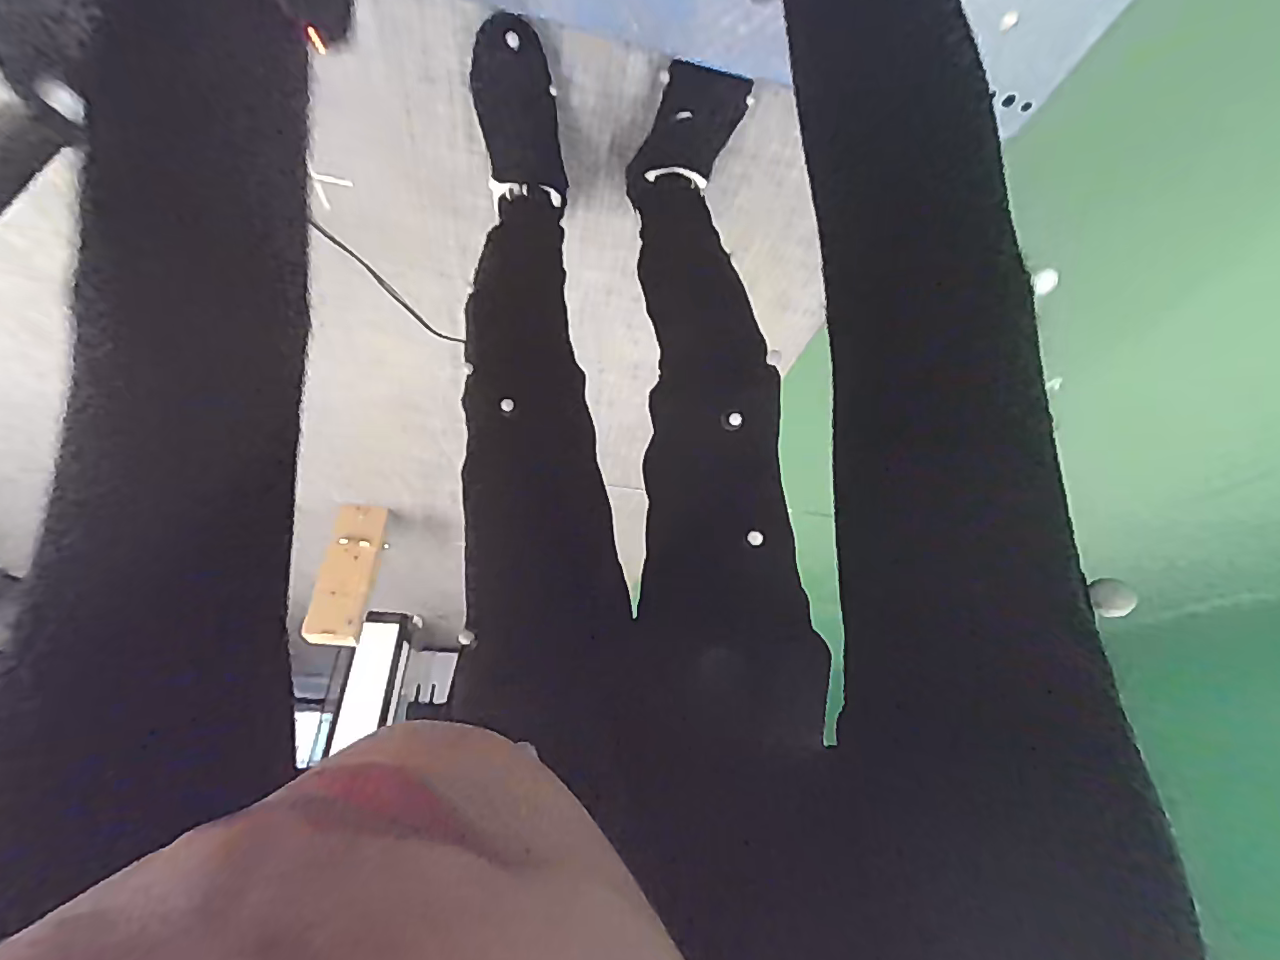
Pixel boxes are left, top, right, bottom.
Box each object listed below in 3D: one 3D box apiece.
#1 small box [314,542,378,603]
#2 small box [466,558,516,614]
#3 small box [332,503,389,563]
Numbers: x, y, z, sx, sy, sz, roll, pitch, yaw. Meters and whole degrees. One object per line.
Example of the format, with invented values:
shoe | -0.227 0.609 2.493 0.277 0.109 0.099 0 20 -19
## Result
small box | -1.095 0.349 2.029 0.168 0.176 0.179 11 150 -16
small box | -0.586 0.417 2.132 0.168 0.176 0.179 9 149 -15
small box | -1.083 0.208 2.103 0.168 0.176 0.179 11 150 -22
